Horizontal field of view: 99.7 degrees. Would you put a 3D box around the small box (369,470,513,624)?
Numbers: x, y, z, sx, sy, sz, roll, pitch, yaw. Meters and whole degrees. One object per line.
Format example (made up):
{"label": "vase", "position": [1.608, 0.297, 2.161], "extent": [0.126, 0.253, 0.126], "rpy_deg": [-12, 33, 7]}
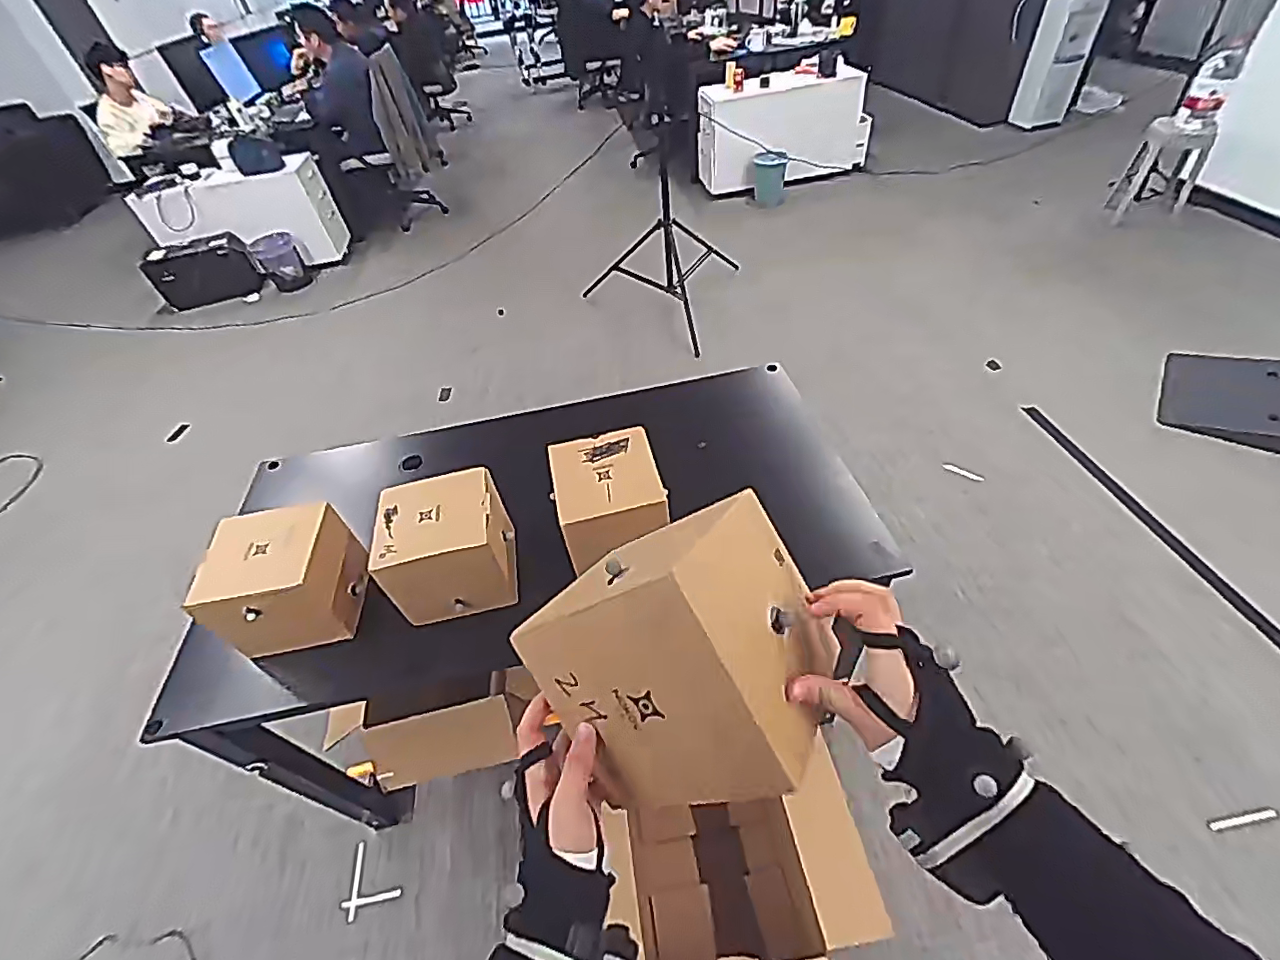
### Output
{"label": "small box", "position": [-0.310, 0.111, 0.883], "extent": [0.179, 0.176, 0.168], "rpy_deg": [-12, 46, -5]}

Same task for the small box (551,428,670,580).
{"label": "small box", "position": [-0.048, 0.043, 0.909], "extent": [0.168, 0.176, 0.179], "rpy_deg": [-13, 47, -4]}

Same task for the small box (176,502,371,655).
{"label": "small box", "position": [-0.568, 0.163, 0.869], "extent": [0.179, 0.176, 0.168], "rpy_deg": [-10, 47, -3]}

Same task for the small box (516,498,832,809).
{"label": "small box", "position": [0.041, 0.135, 0.447], "extent": [0.179, 0.168, 0.176], "rpy_deg": [-27, 3, 35]}
